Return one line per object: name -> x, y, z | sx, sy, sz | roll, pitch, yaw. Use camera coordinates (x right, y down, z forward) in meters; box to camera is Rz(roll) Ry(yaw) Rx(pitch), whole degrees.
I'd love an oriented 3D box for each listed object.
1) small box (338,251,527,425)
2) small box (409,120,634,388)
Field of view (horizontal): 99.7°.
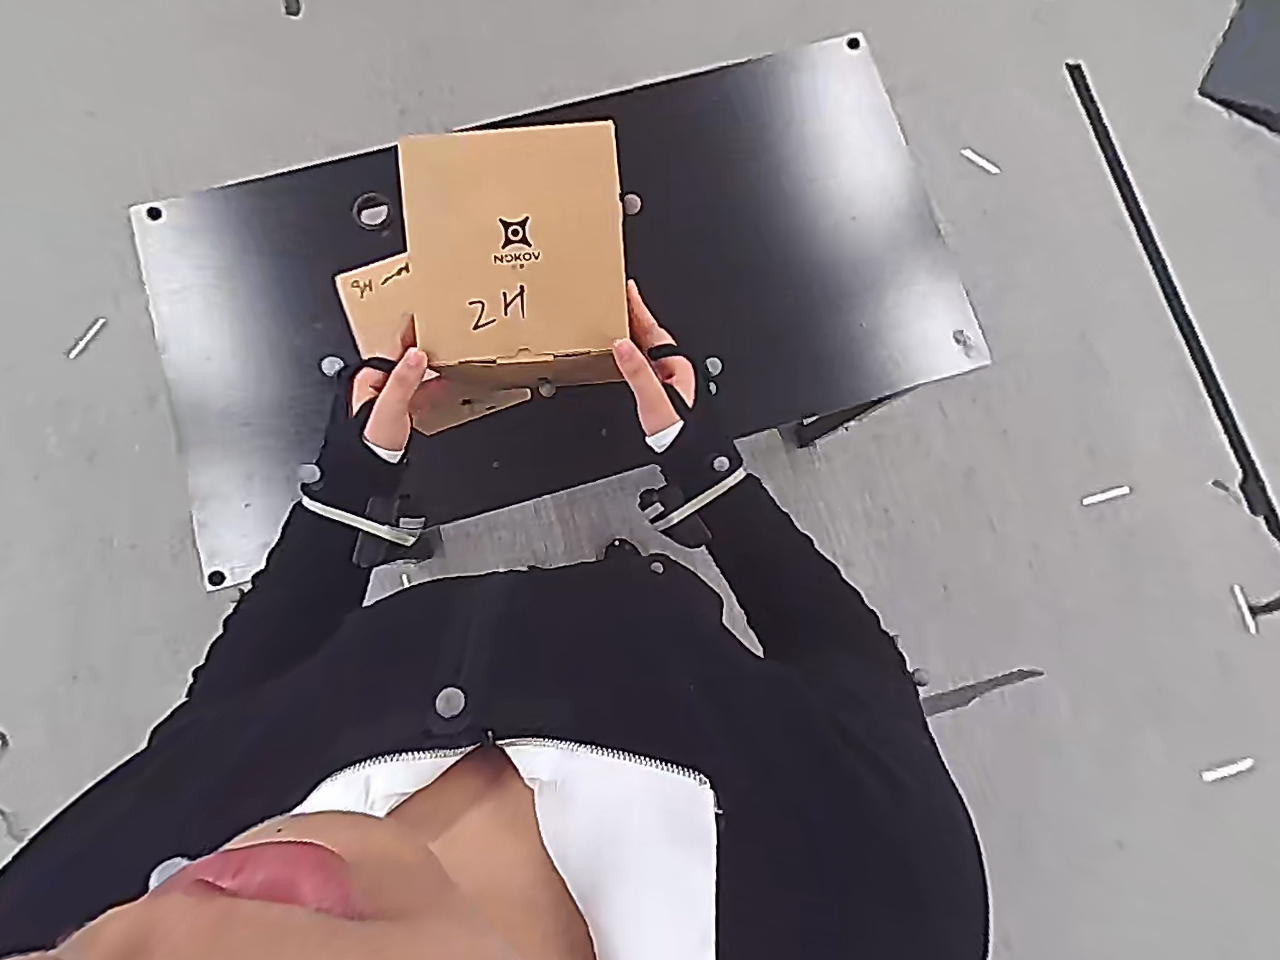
small box -> -0.267, -0.186, 0.738 | 0.168, 0.176, 0.179 | -21, 84, -4
small box -> -0.092, -0.188, 0.496 | 0.168, 0.176, 0.179 | -4, 92, 1
